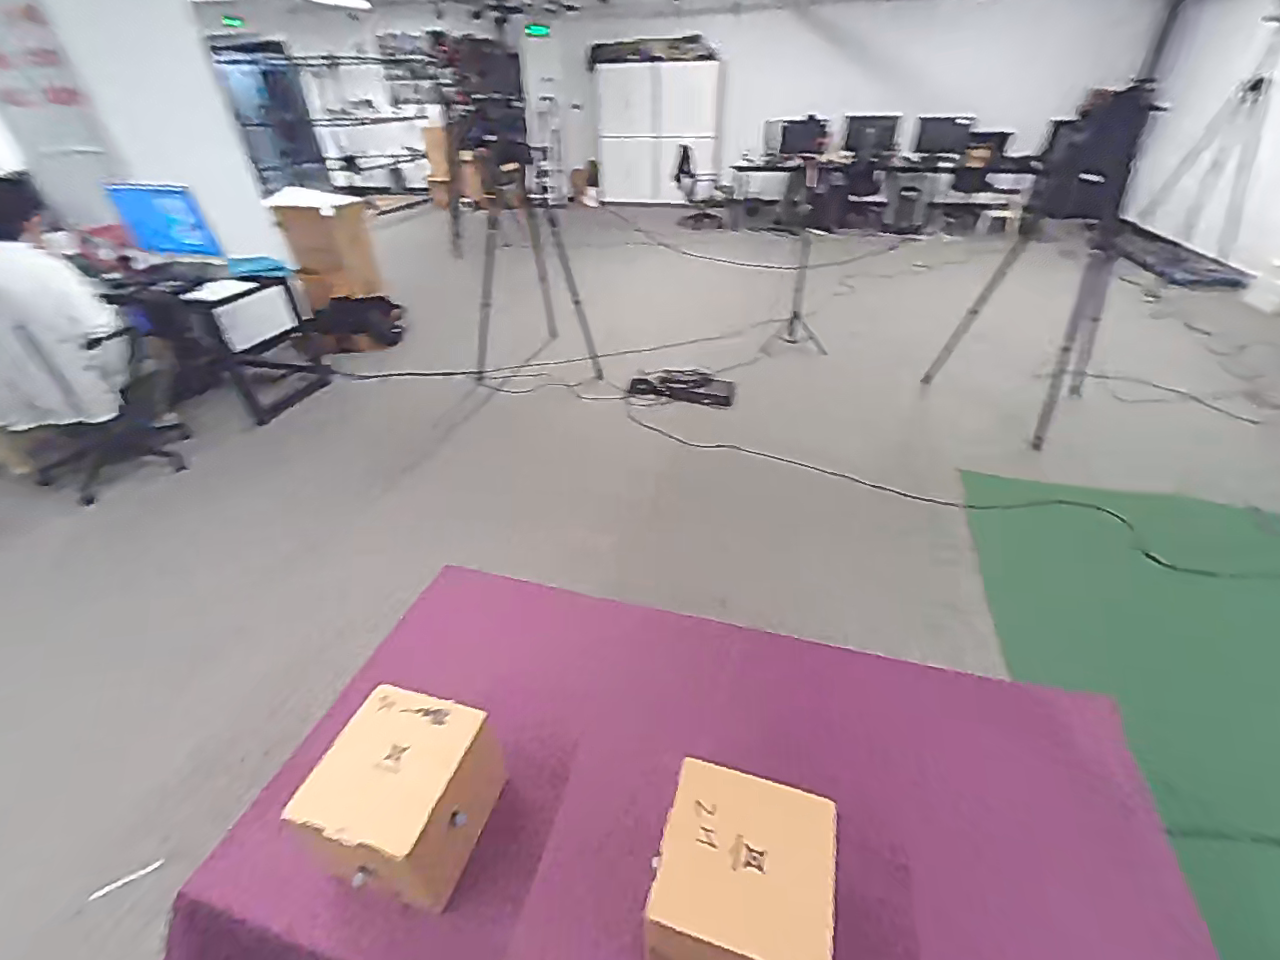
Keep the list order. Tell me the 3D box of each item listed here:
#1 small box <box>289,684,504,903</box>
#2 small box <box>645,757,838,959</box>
[{"bbox_3d":[-0.295,0.405,0.703,0.168,0.176,0.179,8,37,14],"label":"small box"},{"bbox_3d":[0.115,0.455,0.609,0.179,0.176,0.168,9,36,16],"label":"small box"}]
